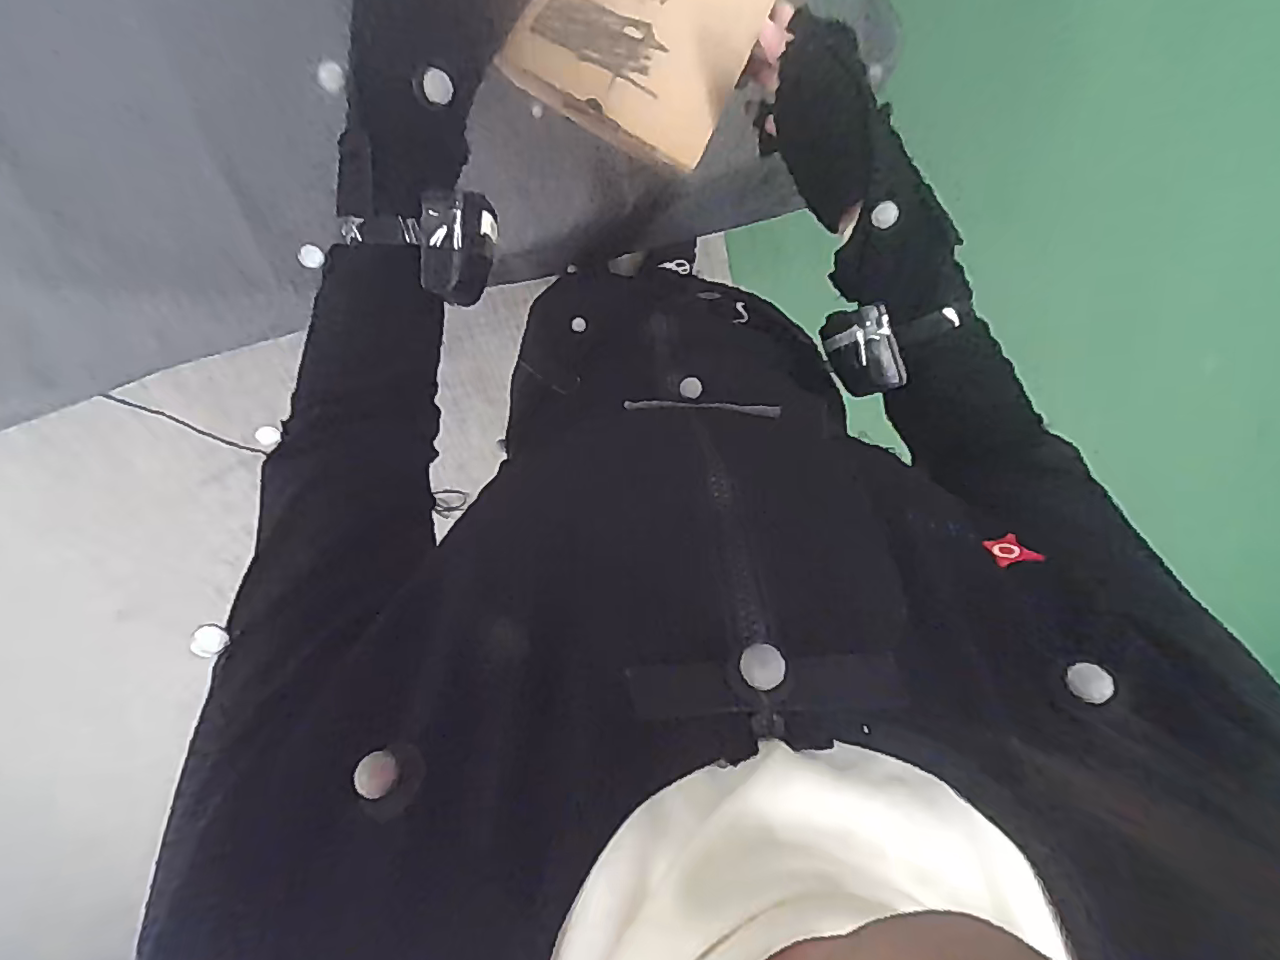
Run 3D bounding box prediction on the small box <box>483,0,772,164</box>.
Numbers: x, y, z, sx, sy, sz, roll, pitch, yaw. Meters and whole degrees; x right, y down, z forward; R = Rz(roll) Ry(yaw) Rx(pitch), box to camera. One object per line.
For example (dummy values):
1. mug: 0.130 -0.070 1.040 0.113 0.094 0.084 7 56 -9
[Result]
1. small box: 0.001 -0.364 0.407 0.168 0.176 0.179 21 115 -15
